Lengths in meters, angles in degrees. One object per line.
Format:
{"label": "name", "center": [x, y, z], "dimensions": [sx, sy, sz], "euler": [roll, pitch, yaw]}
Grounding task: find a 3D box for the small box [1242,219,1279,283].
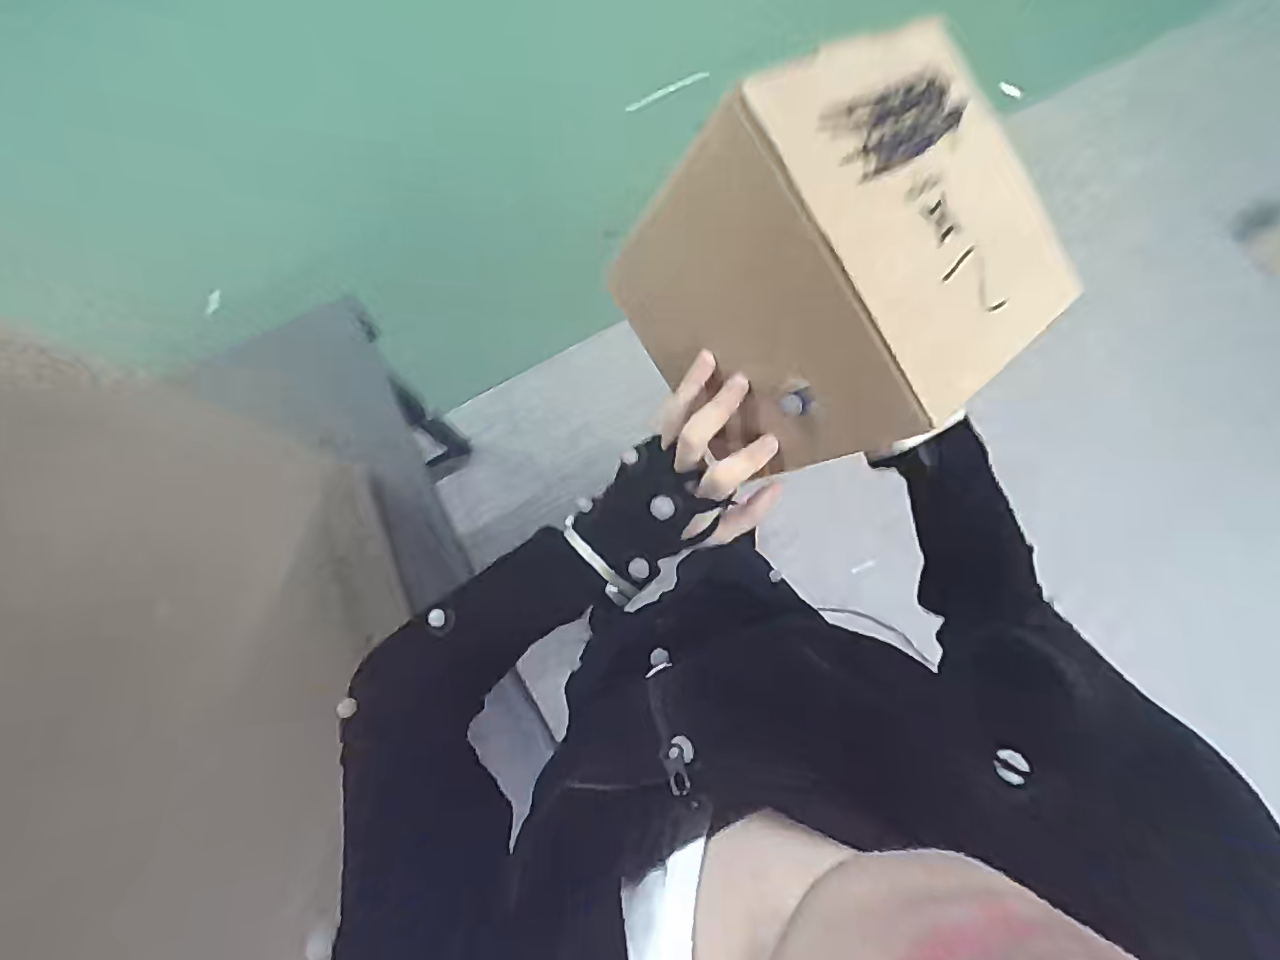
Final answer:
{"label": "small box", "center": [2.010, -0.734, 1.638], "dimensions": [0.179, 0.176, 0.168], "euler": [-29, 80, -5]}
